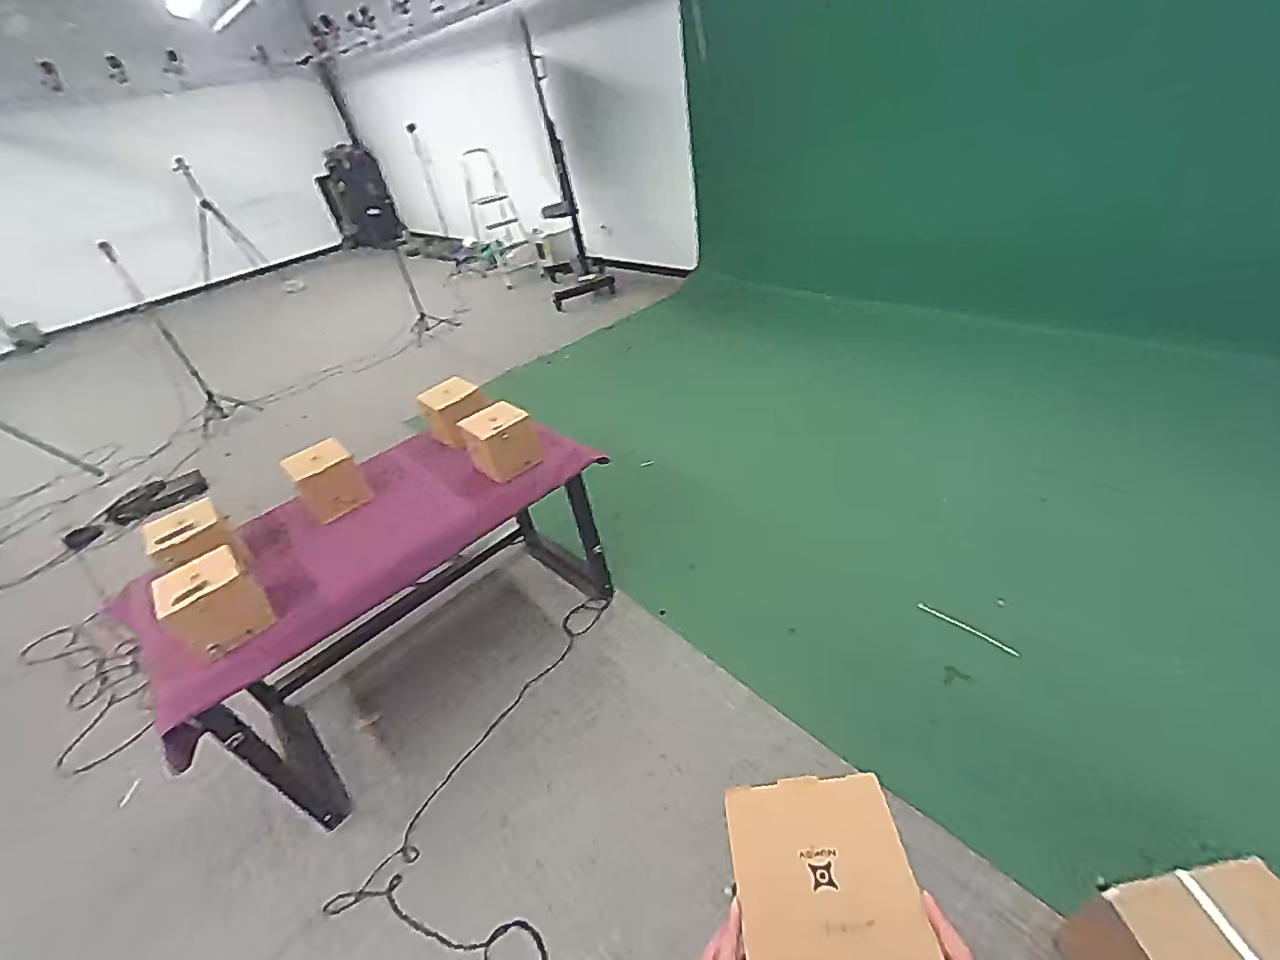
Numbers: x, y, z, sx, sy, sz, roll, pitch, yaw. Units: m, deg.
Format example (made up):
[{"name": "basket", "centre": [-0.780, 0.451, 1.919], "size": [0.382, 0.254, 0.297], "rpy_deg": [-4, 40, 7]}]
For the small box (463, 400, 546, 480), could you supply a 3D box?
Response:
[{"name": "small box", "centre": [-0.421, -0.124, 1.692], "size": [0.168, 0.176, 0.179], "rpy_deg": [-35, 41, -27]}]

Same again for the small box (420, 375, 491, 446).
[{"name": "small box", "centre": [-0.634, -0.242, 1.899], "size": [0.168, 0.176, 0.179], "rpy_deg": [-38, 45, -28]}]

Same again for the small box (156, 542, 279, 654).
[{"name": "small box", "centre": [-1.006, 0.286, 1.298], "size": [0.168, 0.176, 0.179], "rpy_deg": [-34, 42, -29]}]

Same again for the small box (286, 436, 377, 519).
[{"name": "small box", "centre": [-0.955, -0.006, 1.678], "size": [0.168, 0.176, 0.179], "rpy_deg": [-35, 44, -29]}]
